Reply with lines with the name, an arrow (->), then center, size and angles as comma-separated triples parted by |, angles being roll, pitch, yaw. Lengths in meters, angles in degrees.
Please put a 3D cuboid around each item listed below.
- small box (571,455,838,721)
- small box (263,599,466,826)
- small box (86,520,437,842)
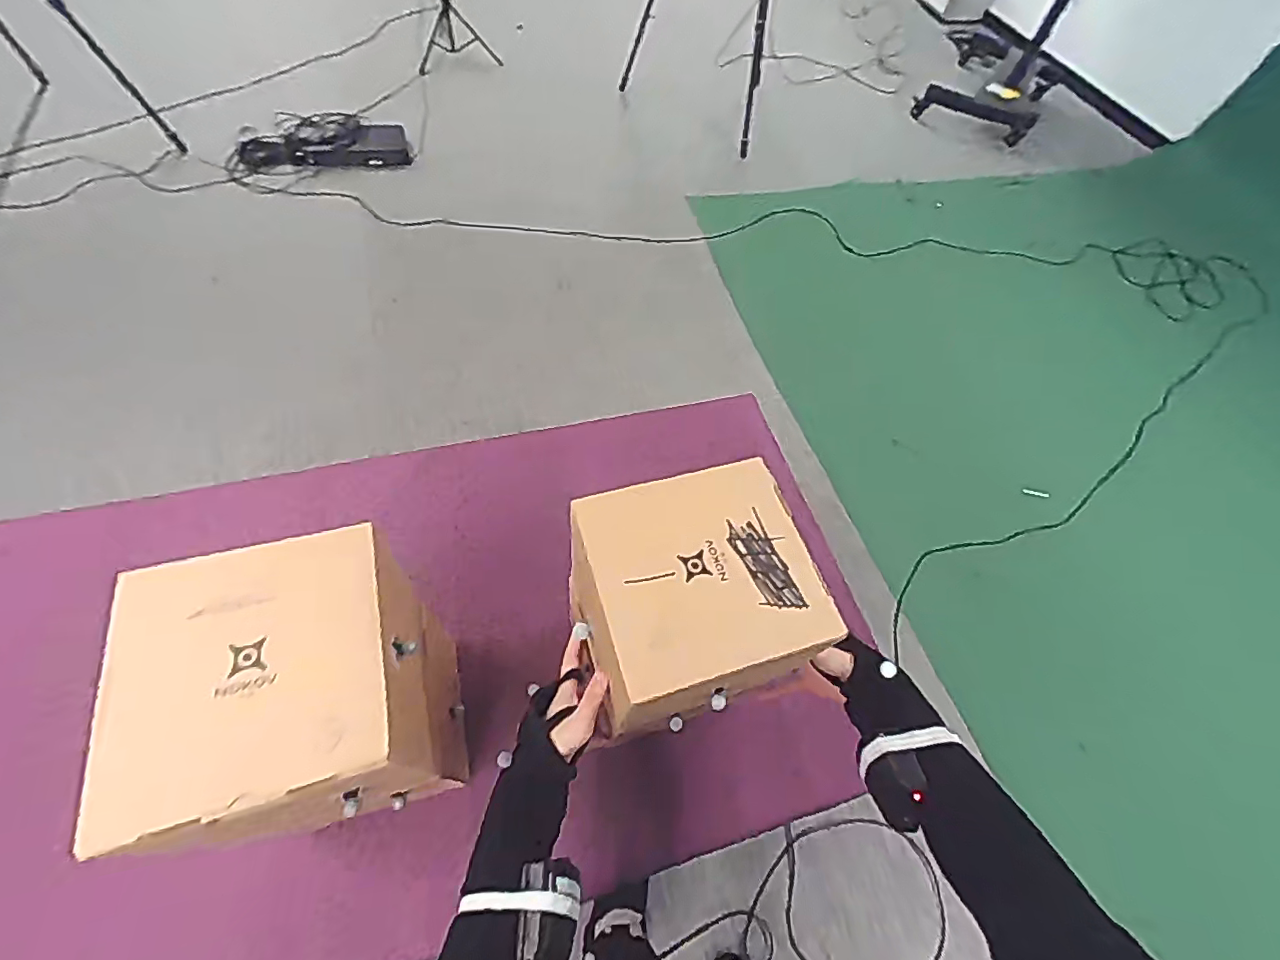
small box -> 0.039, 0.103, 0.495 | 0.179, 0.176, 0.168 | -13, 61, -13
small box -> -0.292, 0.246, 0.565 | 0.179, 0.176, 0.168 | -10, 59, -13
small box -> -0.268, 0.159, 0.431 | 0.168, 0.176, 0.179 | -11, 60, -15
